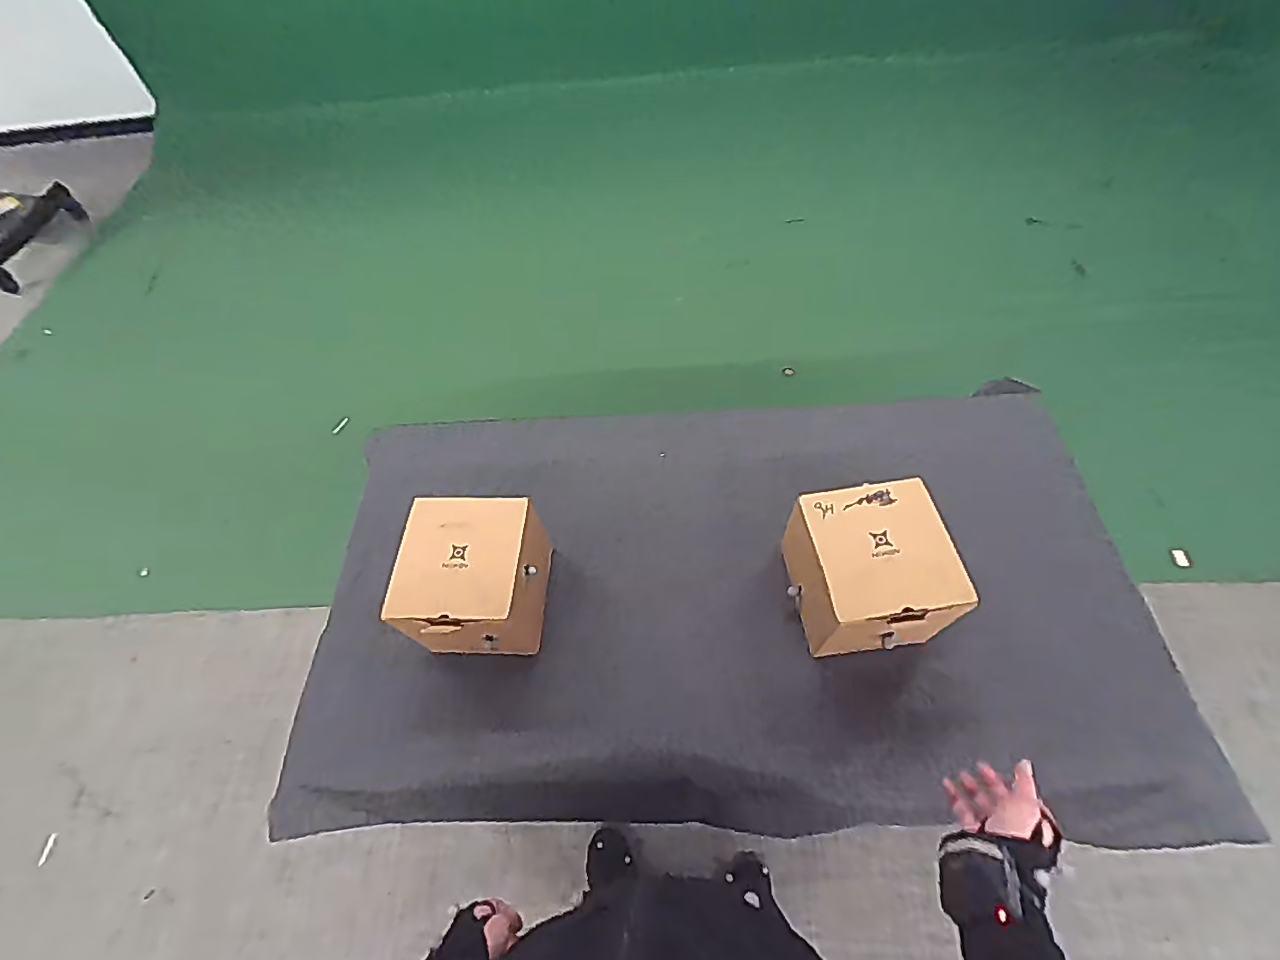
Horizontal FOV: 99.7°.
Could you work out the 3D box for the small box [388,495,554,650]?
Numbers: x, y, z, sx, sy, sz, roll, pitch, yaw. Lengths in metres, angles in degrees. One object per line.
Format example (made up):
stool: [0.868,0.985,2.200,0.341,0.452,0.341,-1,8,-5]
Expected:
small box: [-0.227,0.138,0.782,0.168,0.176,0.179,1,57,4]

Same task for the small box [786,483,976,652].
small box: [0.309,0.128,0.739,0.168,0.176,0.179,-8,59,0]
